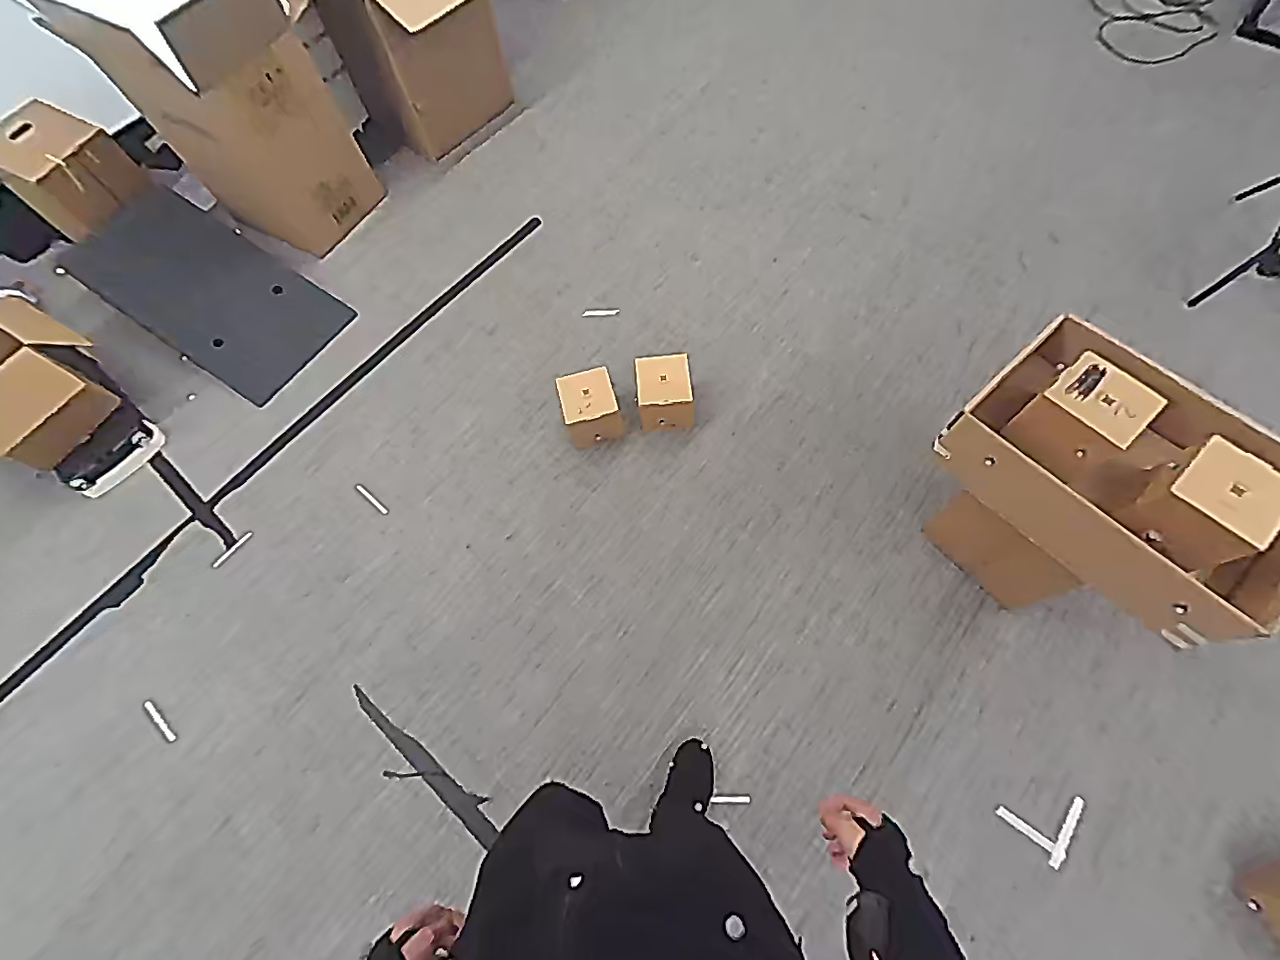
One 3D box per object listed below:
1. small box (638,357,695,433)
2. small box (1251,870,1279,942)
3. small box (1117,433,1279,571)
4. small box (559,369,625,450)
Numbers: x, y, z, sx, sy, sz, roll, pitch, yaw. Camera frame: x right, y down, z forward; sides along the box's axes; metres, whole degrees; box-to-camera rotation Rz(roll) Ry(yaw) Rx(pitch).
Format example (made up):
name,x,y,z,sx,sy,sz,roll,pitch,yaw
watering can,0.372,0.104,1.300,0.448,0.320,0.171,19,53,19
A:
name,x,y,z,sx,sy,sz,roll,pitch,yaw
small box,0.082,-0.271,1.737,0.168,0.176,0.179,-5,67,1
small box,1.437,0.916,1.105,0.179,0.176,0.168,-19,66,-5
small box,1.102,0.047,1.058,0.179,0.176,0.168,-39,68,-16
small box,-0.151,-0.223,1.729,0.168,0.176,0.179,-15,66,-2
